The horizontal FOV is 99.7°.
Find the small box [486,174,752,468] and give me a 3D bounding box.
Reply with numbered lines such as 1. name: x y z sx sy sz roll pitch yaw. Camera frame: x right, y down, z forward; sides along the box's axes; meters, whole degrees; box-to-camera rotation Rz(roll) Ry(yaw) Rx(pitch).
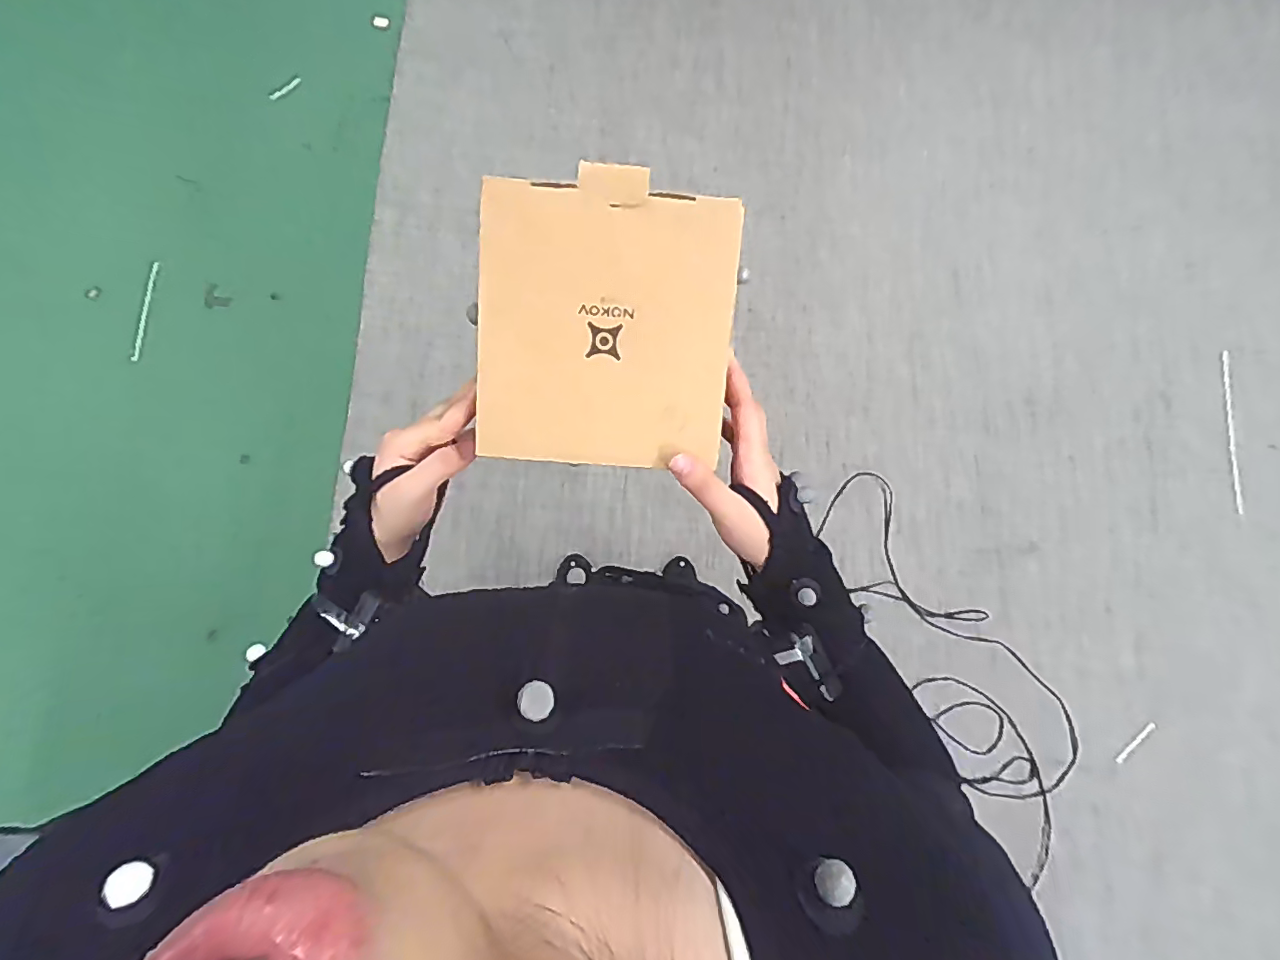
1. small box: -0.018 -0.114 0.428 0.168 0.176 0.179 3 100 -2

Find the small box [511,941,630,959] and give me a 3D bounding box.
1. small box: -0.091 0.687 0.617 0.168 0.176 0.179 4 84 1
